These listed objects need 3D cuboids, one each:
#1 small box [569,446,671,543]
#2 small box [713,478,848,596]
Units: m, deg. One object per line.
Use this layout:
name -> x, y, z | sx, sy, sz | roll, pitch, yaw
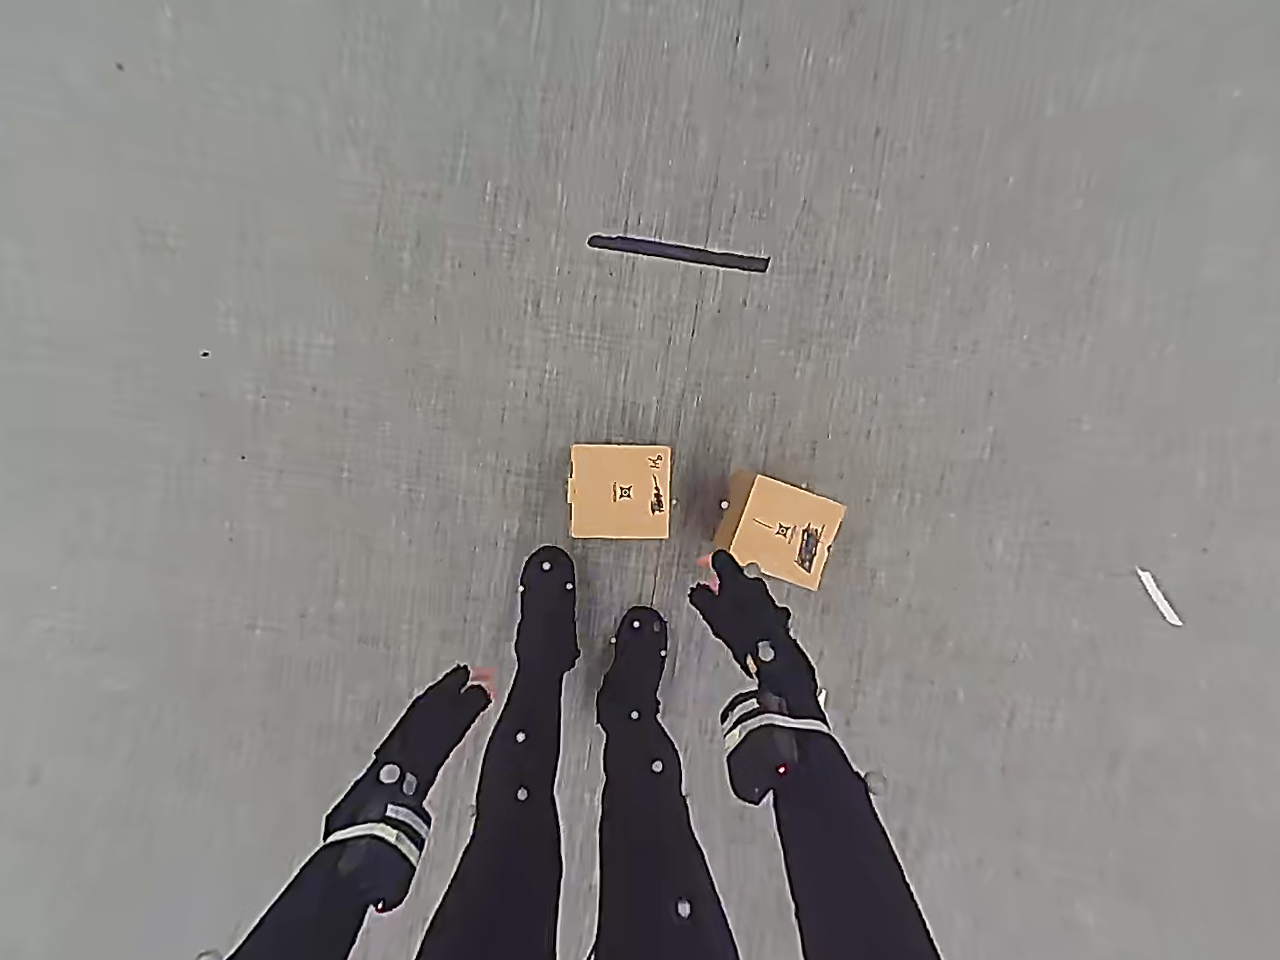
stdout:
small box -> -0.036, 0.023, 1.018 | 0.179, 0.176, 0.168 | 1, 93, -2
small box -> 0.257, 0.099, 1.033 | 0.179, 0.176, 0.168 | 20, 91, -2
